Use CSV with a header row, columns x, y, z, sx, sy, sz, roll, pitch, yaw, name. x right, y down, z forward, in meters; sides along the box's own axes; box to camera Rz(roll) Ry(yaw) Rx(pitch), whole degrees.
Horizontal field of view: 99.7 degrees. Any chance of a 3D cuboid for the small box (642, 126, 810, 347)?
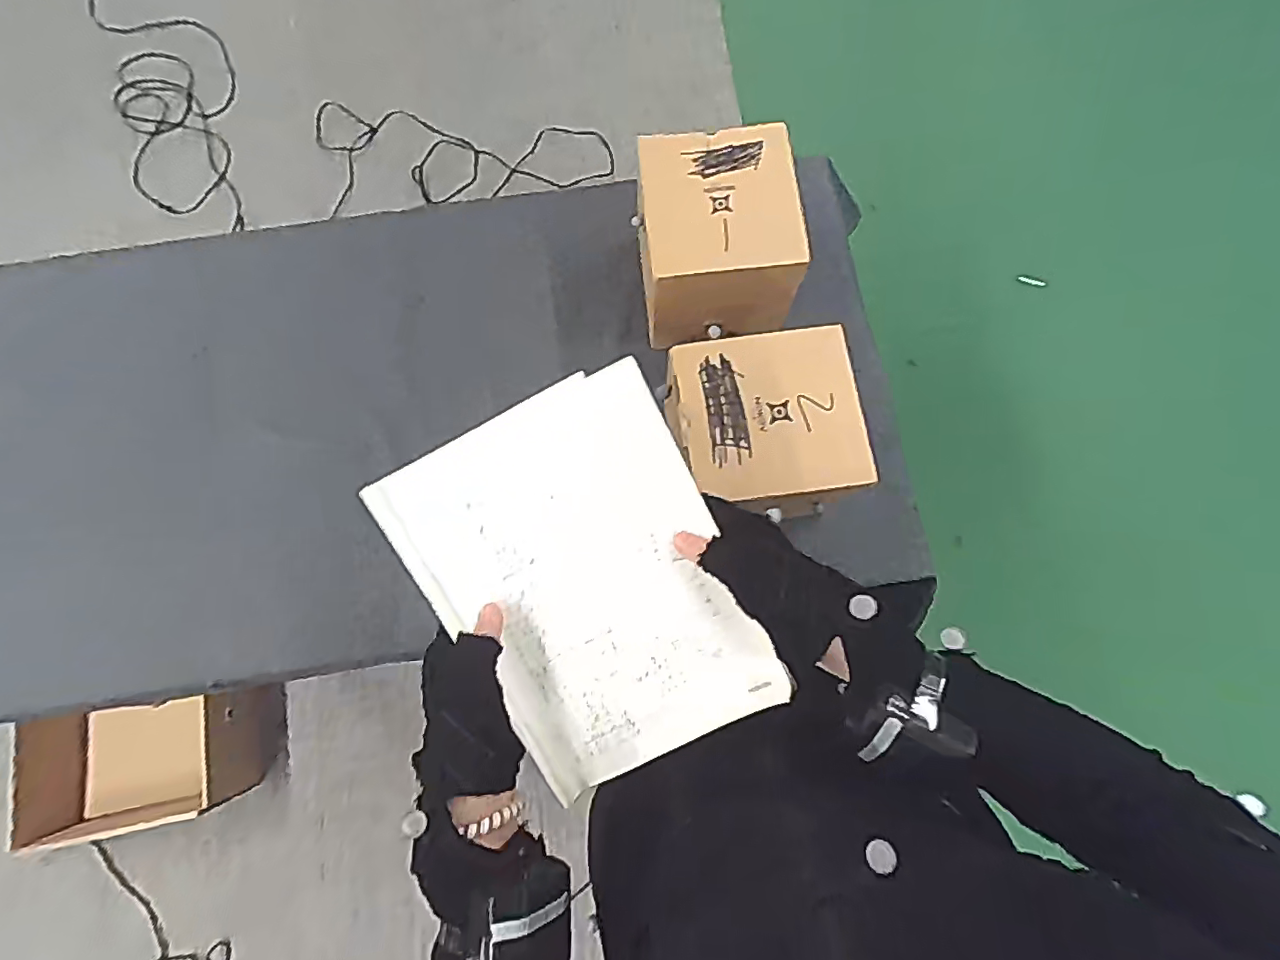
x,y,z,sx,sy,sz,roll,pitch,yaw,name
0.089,-0.283,0.654,0.168,0.176,0.179,-5,78,0,small box
